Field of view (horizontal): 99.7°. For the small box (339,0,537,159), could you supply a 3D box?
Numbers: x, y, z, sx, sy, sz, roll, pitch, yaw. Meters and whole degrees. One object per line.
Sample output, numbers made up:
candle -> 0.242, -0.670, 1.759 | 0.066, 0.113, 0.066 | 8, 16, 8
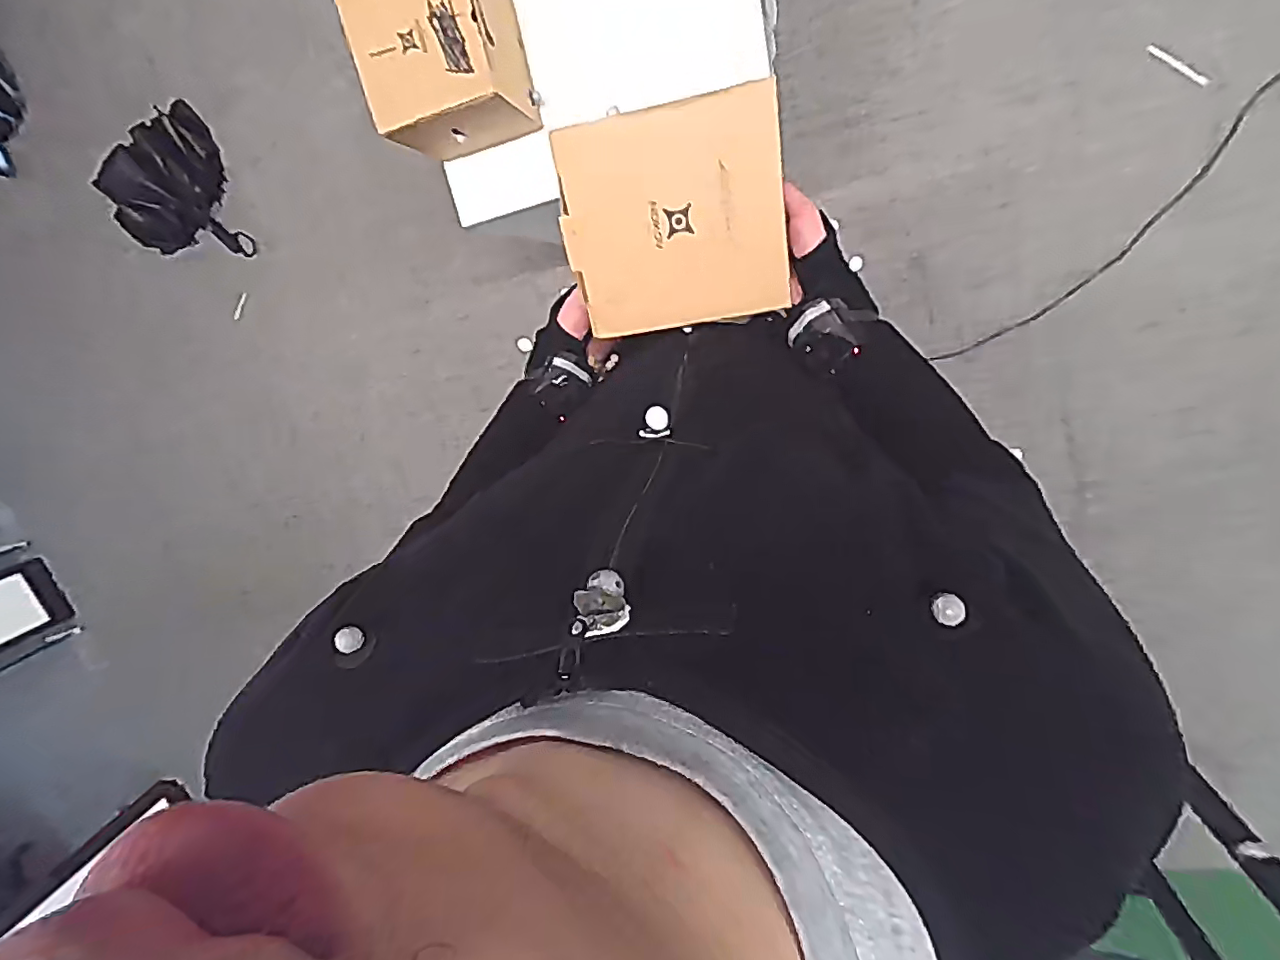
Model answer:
small box -> -0.256, -0.563, 0.734 | 0.179, 0.176, 0.168 | -8, 107, 15
